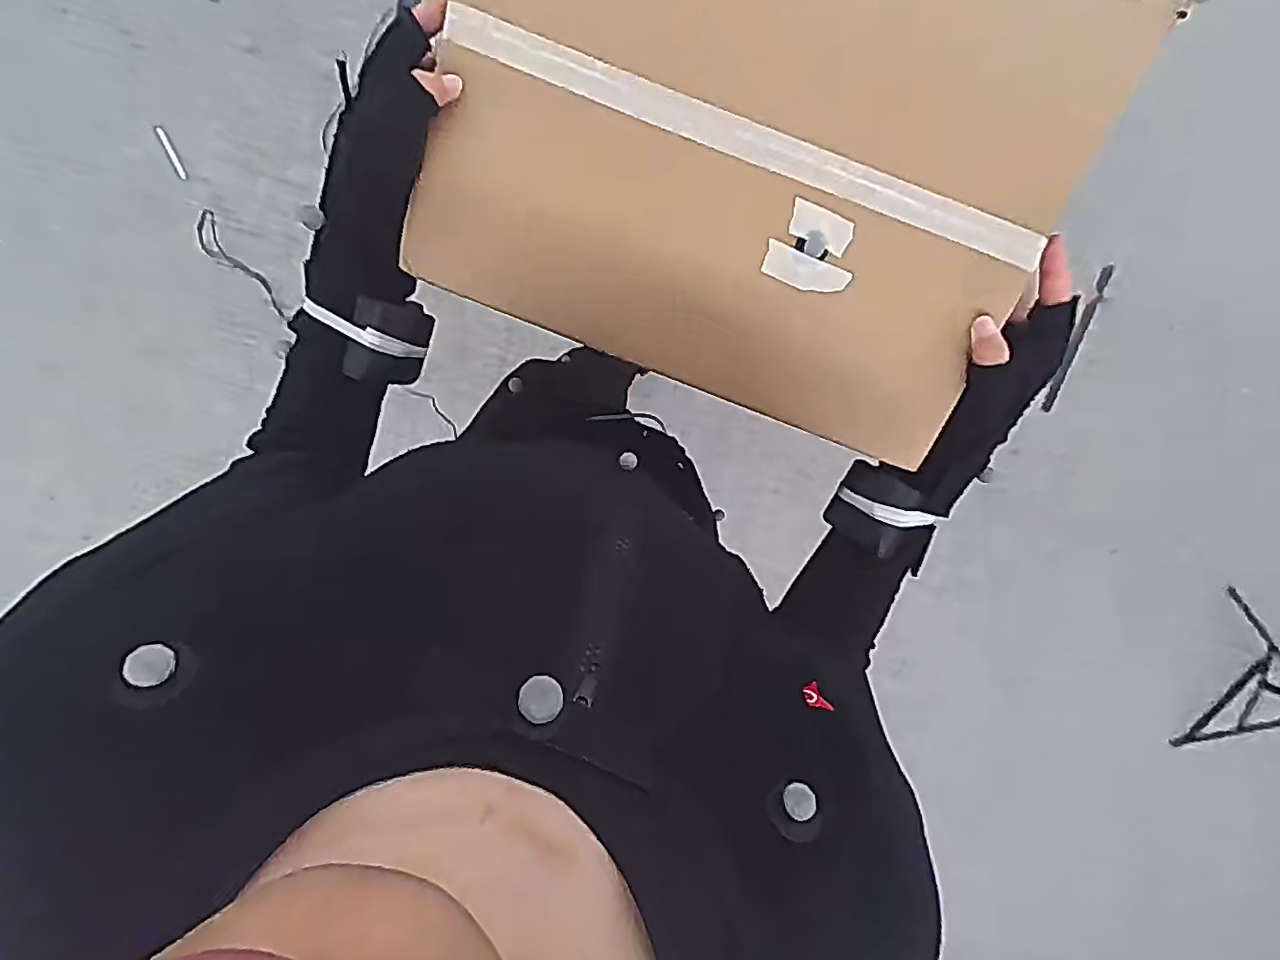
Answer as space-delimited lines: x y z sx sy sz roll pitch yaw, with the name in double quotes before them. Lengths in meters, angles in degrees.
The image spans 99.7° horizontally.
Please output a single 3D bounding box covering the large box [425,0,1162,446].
"large box" 0.086 -0.273 0.499 0.408 0.320 0.320 21 110 -2
